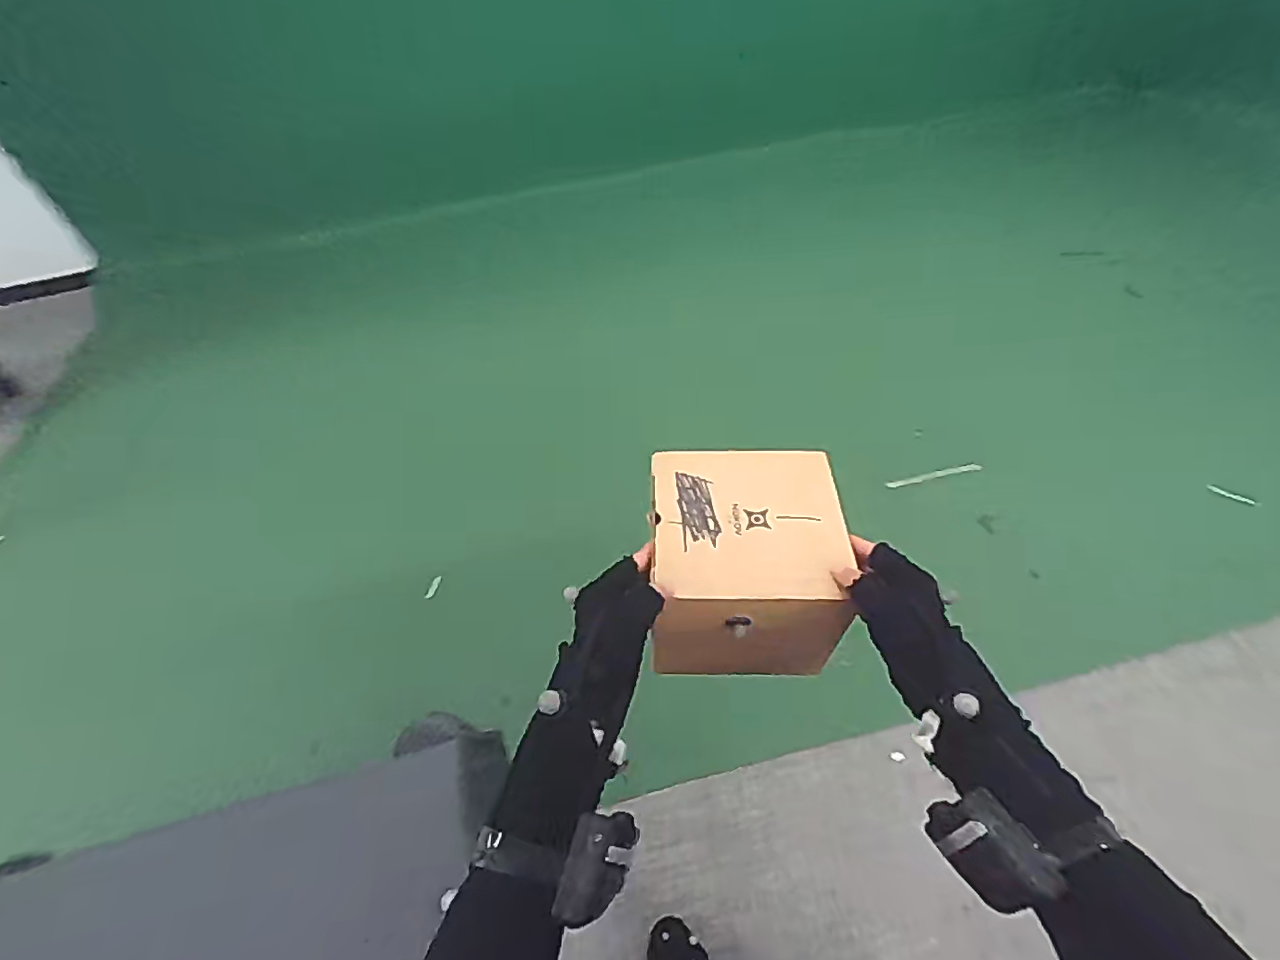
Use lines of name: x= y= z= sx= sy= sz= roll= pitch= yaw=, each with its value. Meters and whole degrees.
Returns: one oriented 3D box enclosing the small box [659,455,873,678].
small box: x=0.108 y=0.092 z=0.552 sx=0.179 sy=0.176 sz=0.168 roll=1 pitch=50 yaw=1
